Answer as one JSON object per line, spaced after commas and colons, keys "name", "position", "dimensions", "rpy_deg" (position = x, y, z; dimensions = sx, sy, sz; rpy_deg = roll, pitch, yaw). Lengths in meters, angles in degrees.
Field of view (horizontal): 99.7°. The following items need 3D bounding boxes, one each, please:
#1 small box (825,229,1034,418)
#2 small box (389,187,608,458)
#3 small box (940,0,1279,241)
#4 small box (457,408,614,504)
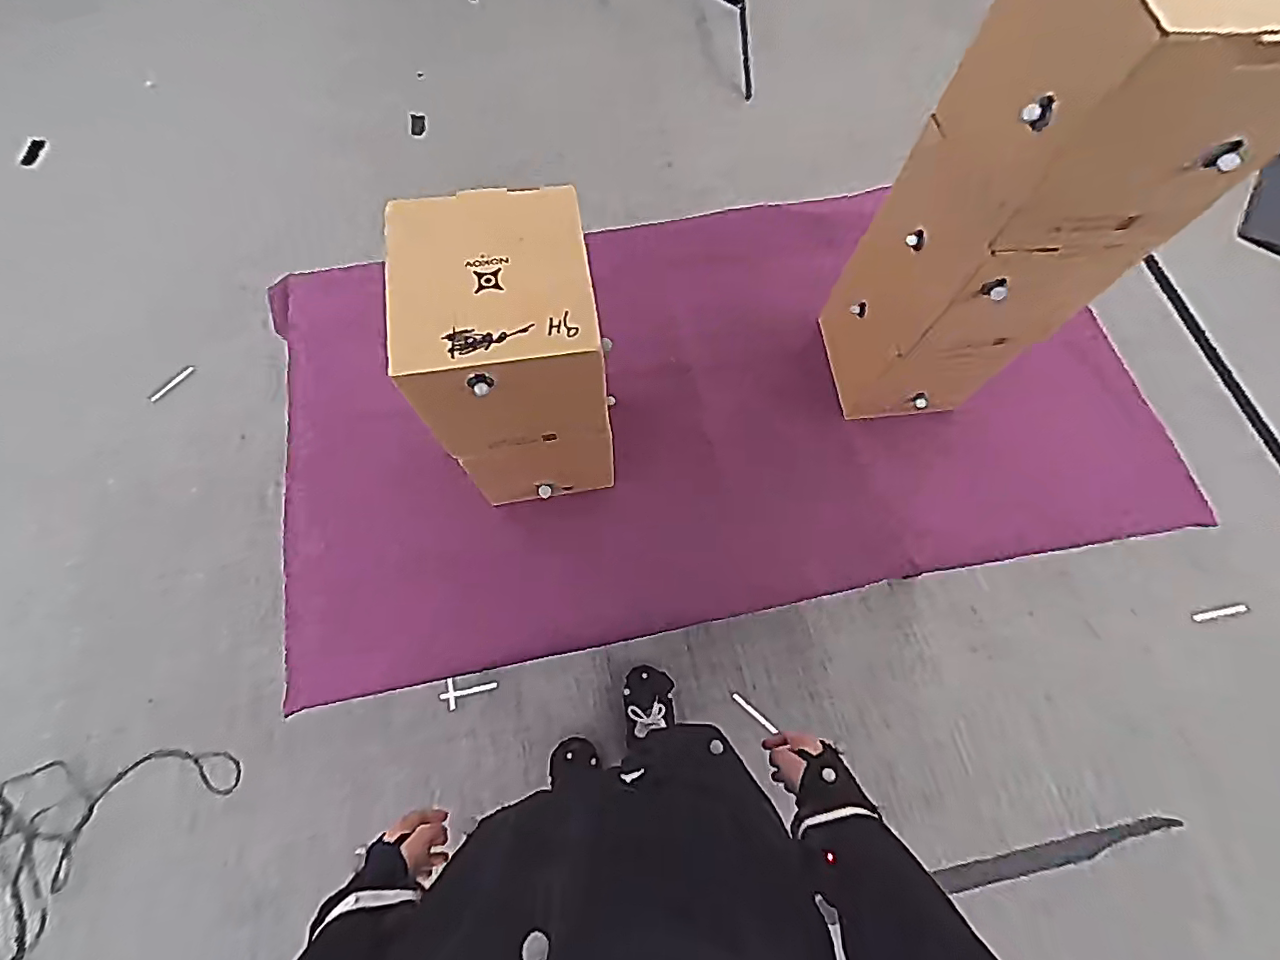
{"name": "small box", "position": [0.365, -0.202, 0.724], "dimensions": [0.168, 0.176, 0.179], "rpy_deg": [-6, 70, -2]}
{"name": "small box", "position": [-0.123, -0.140, 0.516], "dimensions": [0.168, 0.176, 0.179], "rpy_deg": [-8, 70, -4]}
{"name": "small box", "position": [0.369, -0.306, 0.414], "dimensions": [0.168, 0.176, 0.179], "rpy_deg": [-4, 69, -4]}
{"name": "small box", "position": [-0.126, -0.085, 0.670], "dimensions": [0.168, 0.176, 0.179], "rpy_deg": [-9, 72, -5]}
